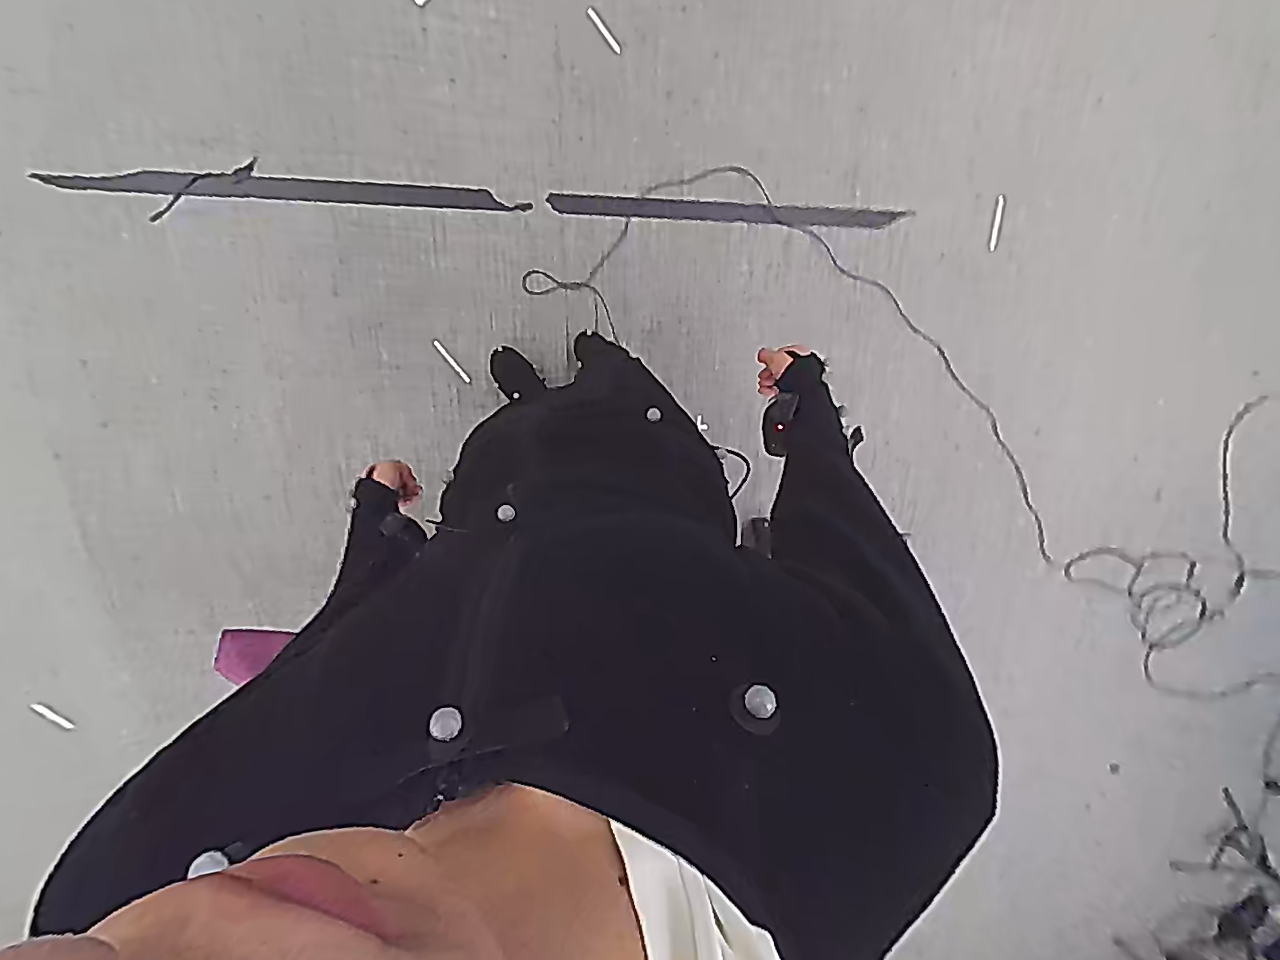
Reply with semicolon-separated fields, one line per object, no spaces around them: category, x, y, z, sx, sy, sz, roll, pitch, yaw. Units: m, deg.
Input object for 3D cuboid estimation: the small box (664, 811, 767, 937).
small box;0.142;0.746;1.070;0.168;0.176;0.179;-4;107;-7
